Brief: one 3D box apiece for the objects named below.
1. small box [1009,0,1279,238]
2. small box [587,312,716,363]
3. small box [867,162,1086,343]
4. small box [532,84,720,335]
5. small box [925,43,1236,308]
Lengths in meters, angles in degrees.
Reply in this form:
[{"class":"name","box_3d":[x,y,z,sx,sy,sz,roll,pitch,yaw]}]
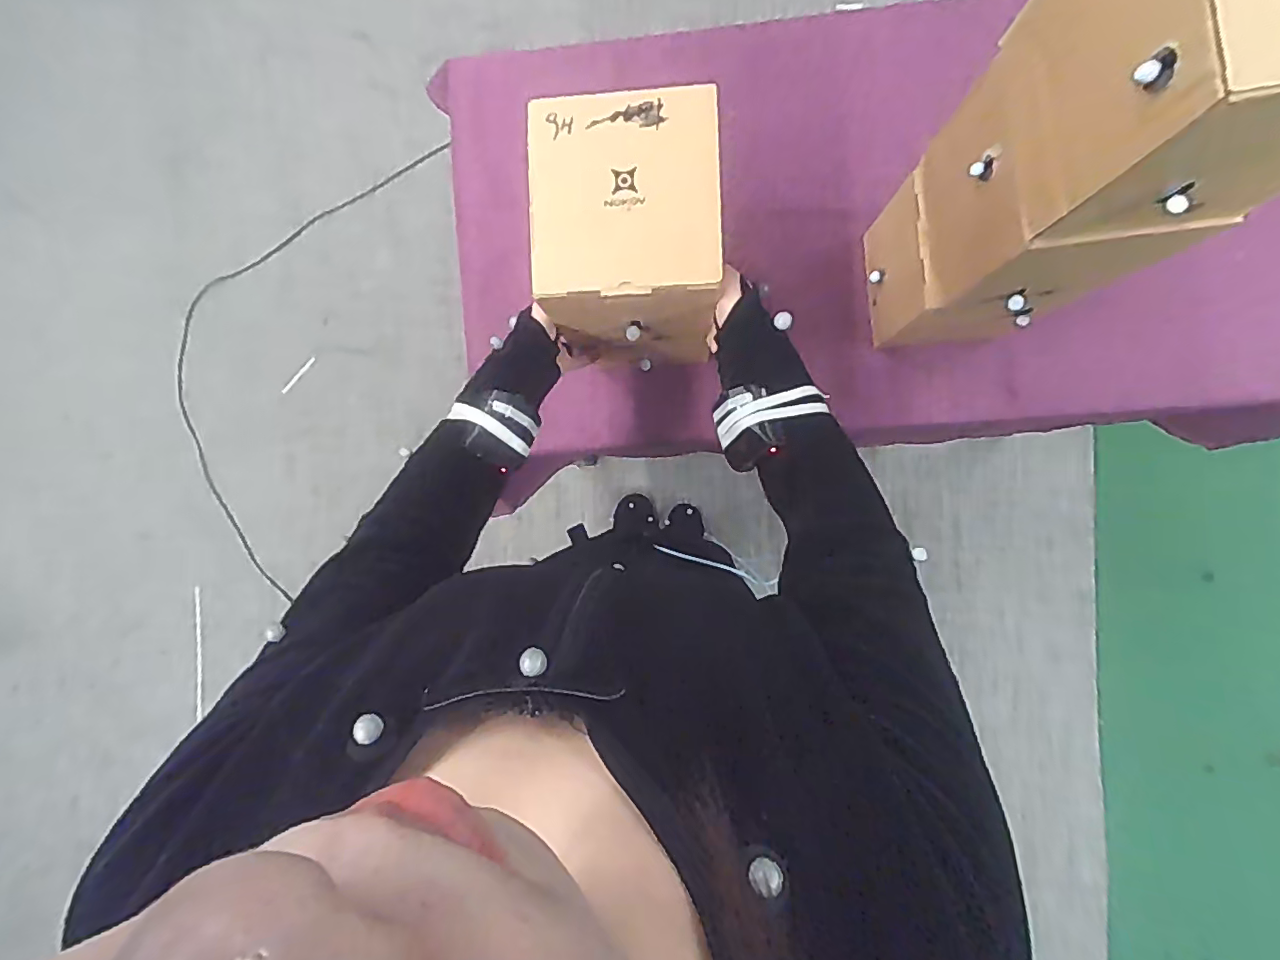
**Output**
[{"class":"small box","box_3d":[0.380,-0.291,0.358,0.168,0.176,0.179,-7,90,5]},{"class":"small box","box_3d":[0.009,-0.261,0.710,0.168,0.176,0.179,-2,90,4]},{"class":"small box","box_3d":[0.407,-0.279,0.682,0.179,0.176,0.168,-4,89,4]},{"class":"small box","box_3d":[-0.005,-0.249,0.545,0.168,0.176,0.179,-1,91,4]},{"class":"small box","box_3d":[0.395,-0.284,0.519,0.168,0.176,0.179,-5,90,5]}]
